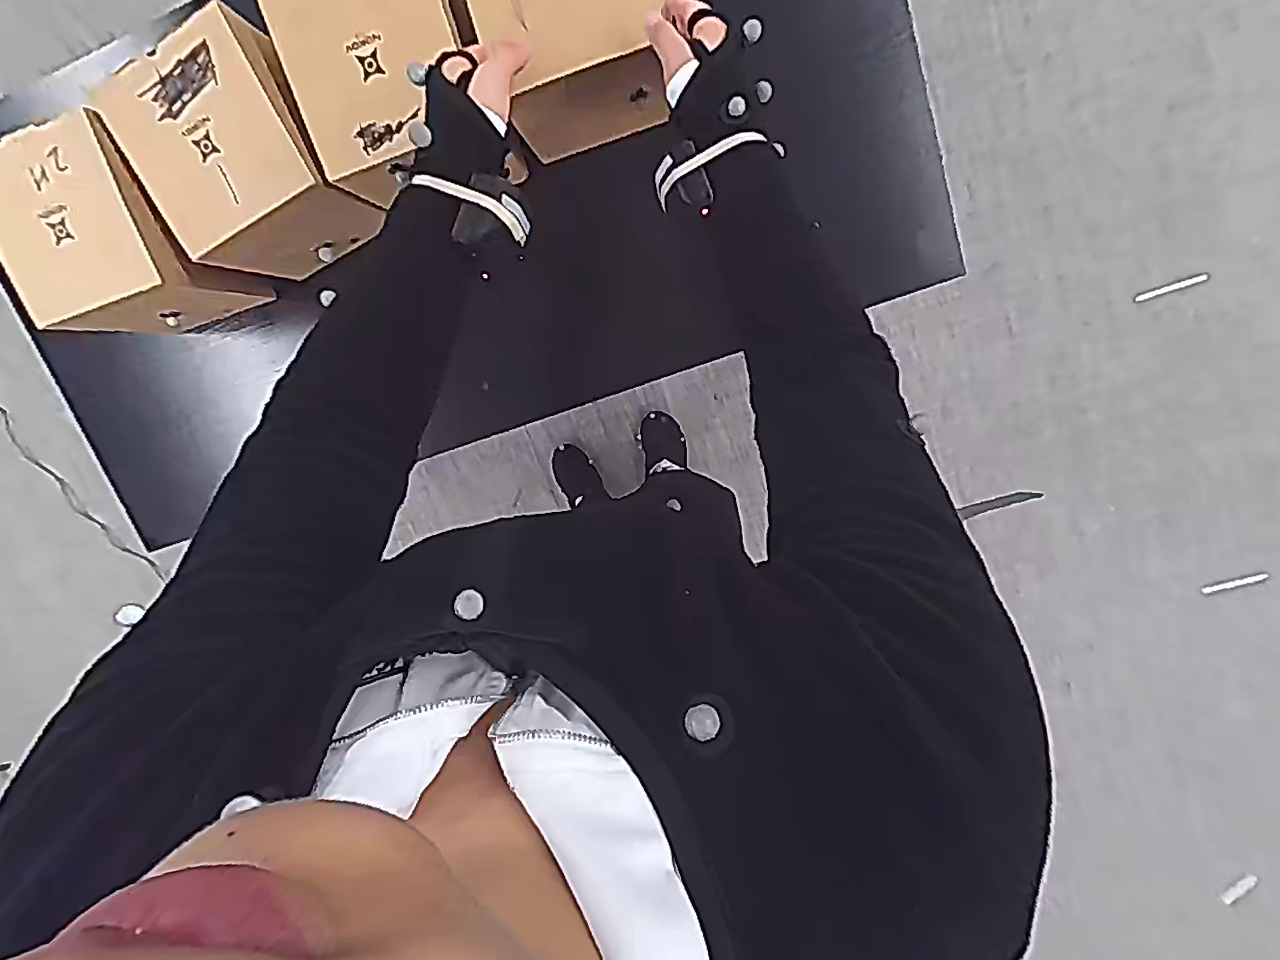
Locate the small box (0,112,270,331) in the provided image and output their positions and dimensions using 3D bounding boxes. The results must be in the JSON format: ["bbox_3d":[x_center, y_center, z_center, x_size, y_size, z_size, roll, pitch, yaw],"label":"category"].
[{"bbox_3d":[-0.590,-0.283,0.640,0.168,0.176,0.179,-15,101,7],"label":"small box"}]
